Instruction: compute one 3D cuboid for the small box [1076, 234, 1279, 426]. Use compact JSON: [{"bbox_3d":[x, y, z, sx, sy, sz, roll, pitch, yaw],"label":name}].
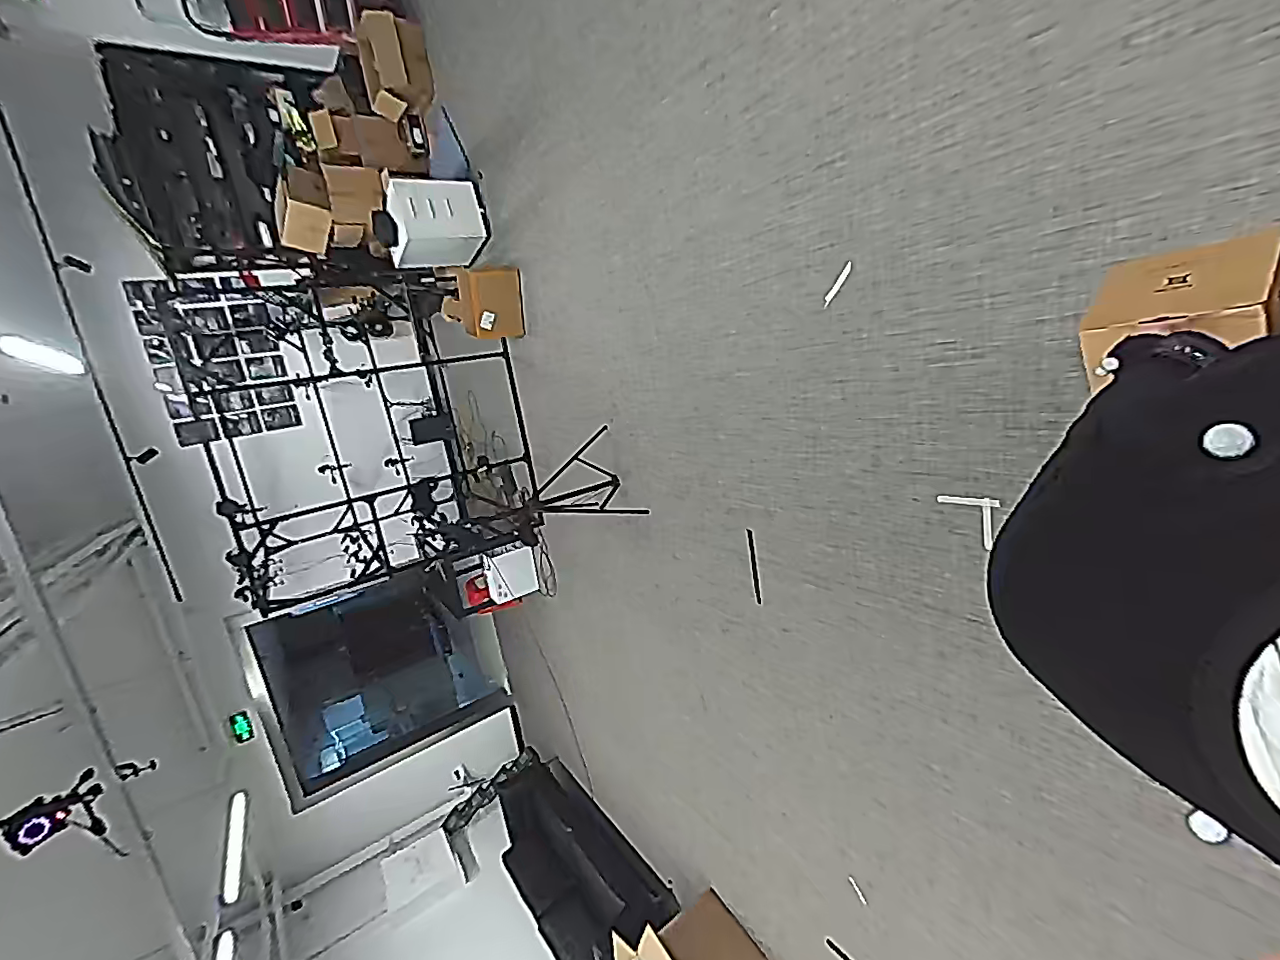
[{"bbox_3d":[0.718,-0.183,0.715,0.168,0.179,0.176,5,135,55],"label":"small box"}]
